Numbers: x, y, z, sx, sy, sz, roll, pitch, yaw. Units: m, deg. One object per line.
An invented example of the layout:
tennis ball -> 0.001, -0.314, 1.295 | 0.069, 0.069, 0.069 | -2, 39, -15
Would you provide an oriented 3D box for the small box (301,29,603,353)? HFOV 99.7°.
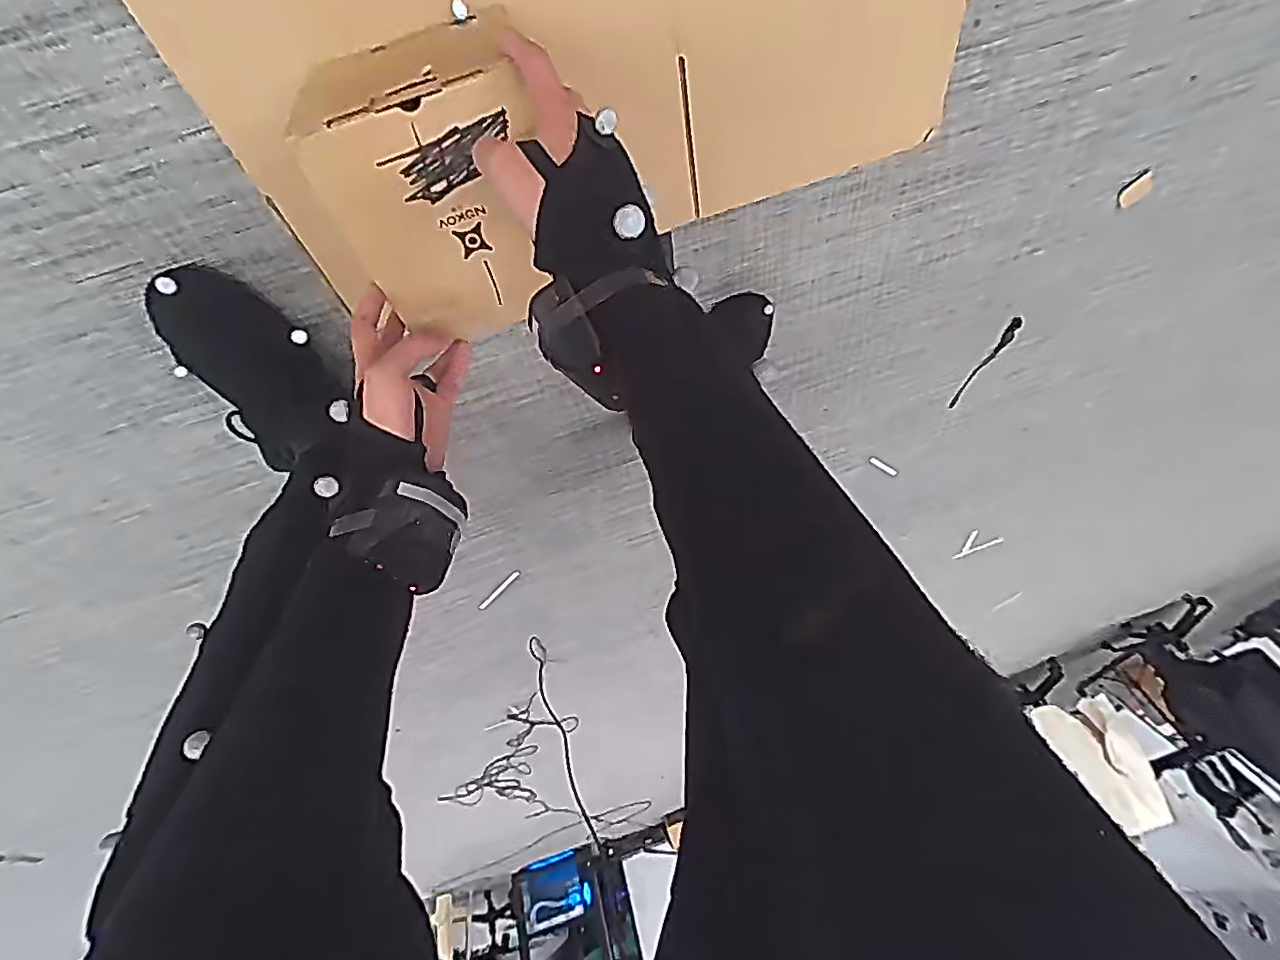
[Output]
small box -> -0.147, -0.246, 0.457 | 0.168, 0.176, 0.179 | -20, 142, -1
